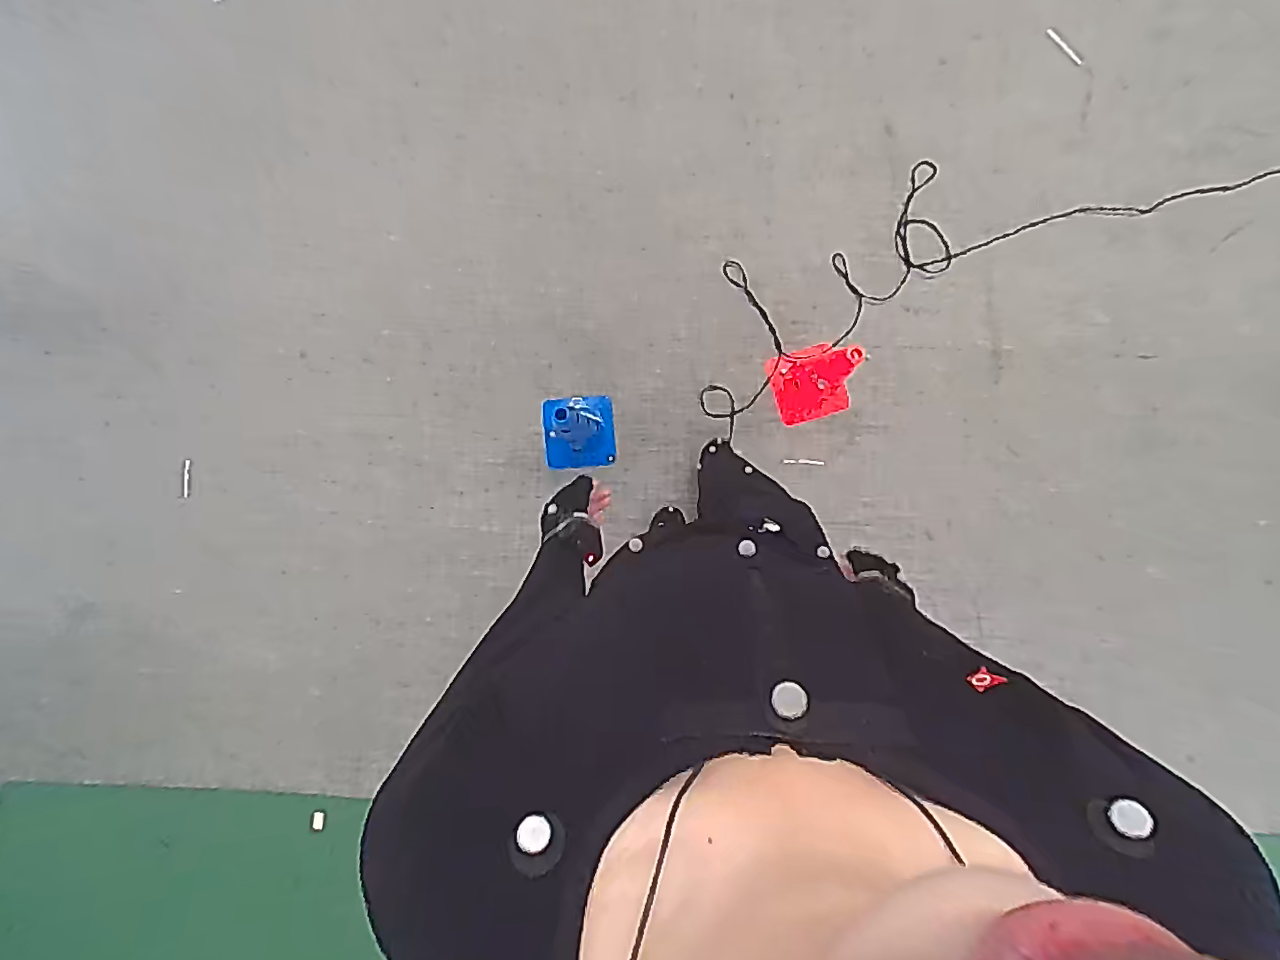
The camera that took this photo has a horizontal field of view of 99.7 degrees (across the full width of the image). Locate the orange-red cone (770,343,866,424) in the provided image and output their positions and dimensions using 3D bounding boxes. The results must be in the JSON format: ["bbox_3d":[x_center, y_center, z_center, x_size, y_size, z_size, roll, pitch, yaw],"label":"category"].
[{"bbox_3d":[0.475,-0.271,1.342,0.198,0.360,0.199,-16,90,1],"label":"orange-red cone"}]
